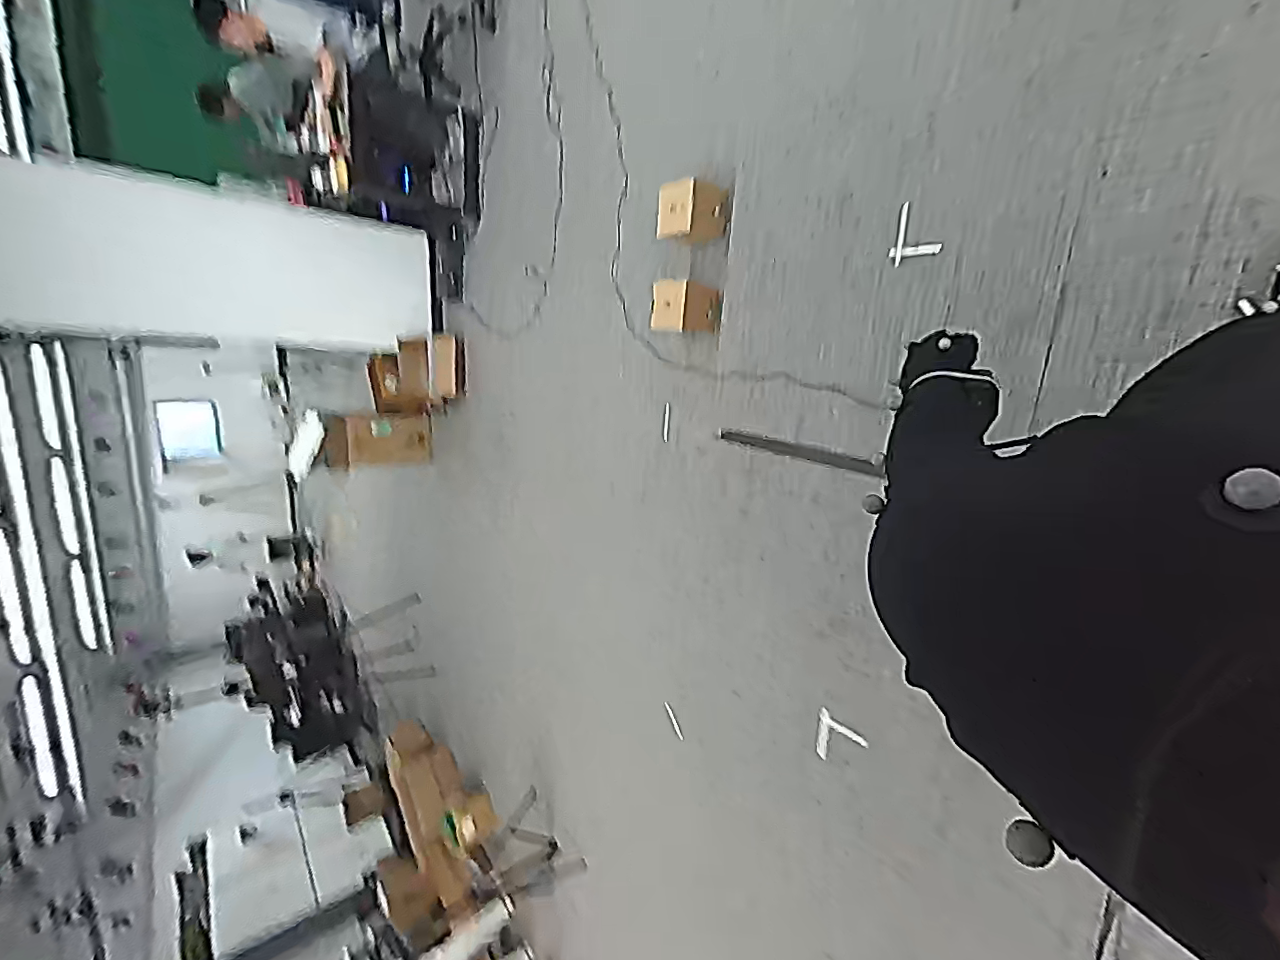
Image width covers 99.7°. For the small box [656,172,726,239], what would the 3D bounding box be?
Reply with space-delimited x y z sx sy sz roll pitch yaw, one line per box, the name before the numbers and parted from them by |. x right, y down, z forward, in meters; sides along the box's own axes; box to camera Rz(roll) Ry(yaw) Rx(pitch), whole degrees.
small box | 0.180 -0.963 1.914 0.179 0.176 0.168 18 109 47

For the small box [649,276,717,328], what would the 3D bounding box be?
small box | 0.157 -0.653 1.991 0.179 0.176 0.168 23 113 46
